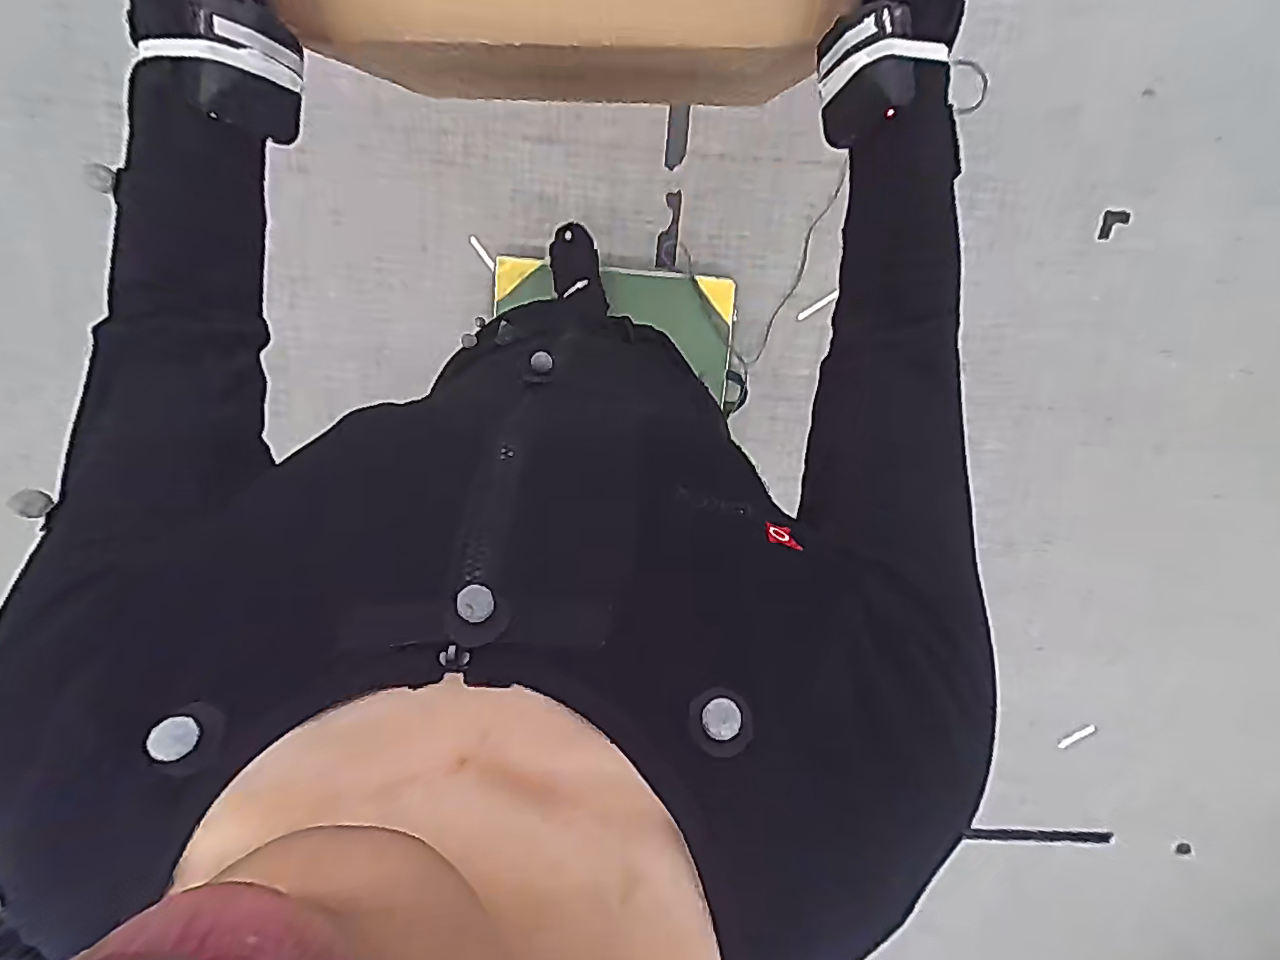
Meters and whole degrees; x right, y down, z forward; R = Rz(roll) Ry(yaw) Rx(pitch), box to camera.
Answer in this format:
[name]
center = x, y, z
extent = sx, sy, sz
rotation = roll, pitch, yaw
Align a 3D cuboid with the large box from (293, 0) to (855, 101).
[large box]
center = -0.052, -0.526, 0.449
extent = 0.408, 0.320, 0.320
rotation = -1, 119, -2
